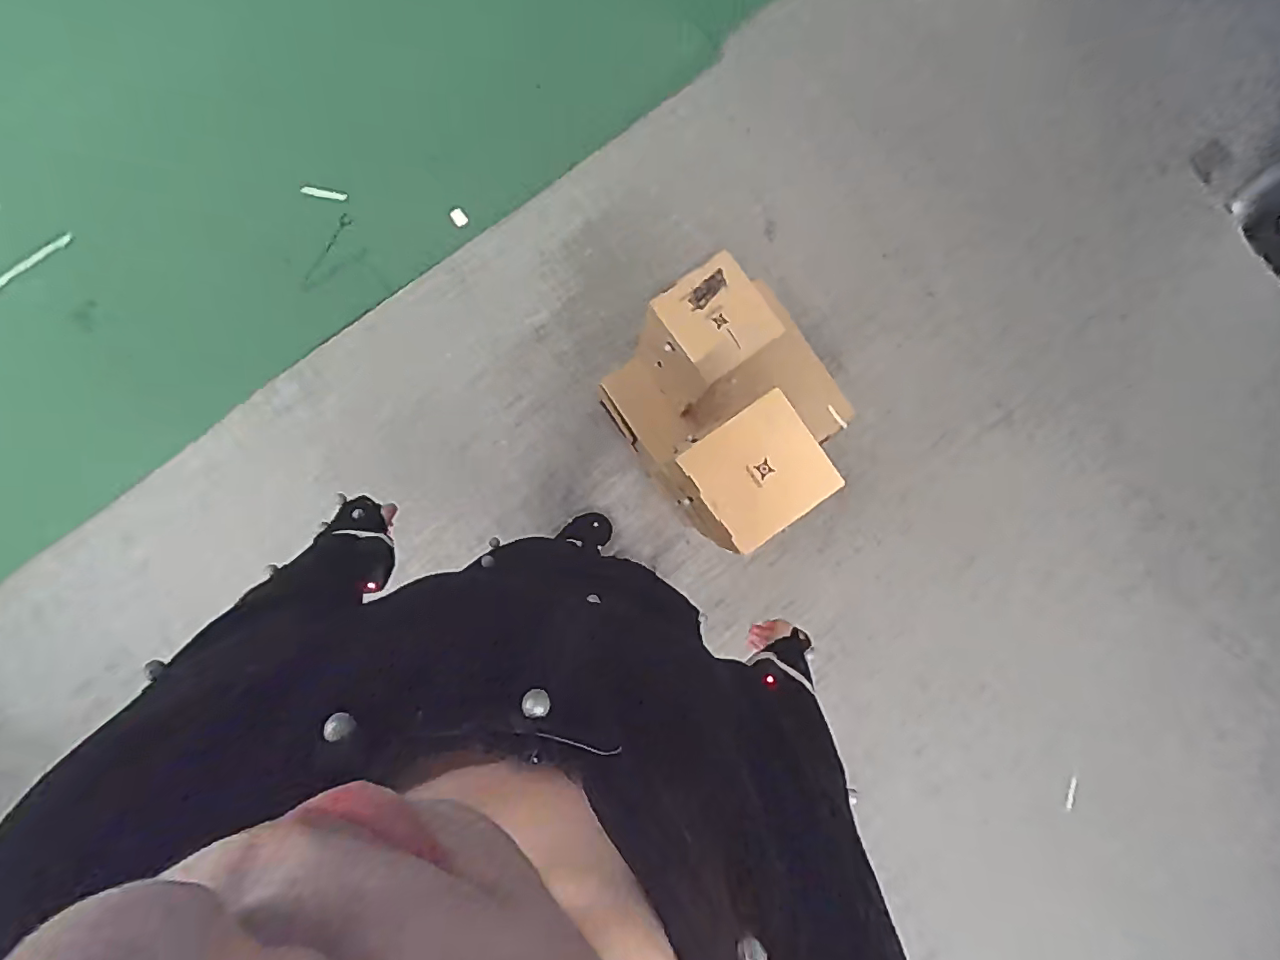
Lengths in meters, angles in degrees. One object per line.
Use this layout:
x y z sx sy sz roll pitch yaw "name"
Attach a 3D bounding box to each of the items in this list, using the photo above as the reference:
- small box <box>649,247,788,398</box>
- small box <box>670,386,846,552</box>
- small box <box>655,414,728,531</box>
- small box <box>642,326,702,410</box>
0.130 -0.273 0.981 0.168 0.176 0.179 -36 89 -4 "small box"
0.163 -0.015 0.812 0.179 0.176 0.168 -35 91 -4 "small box"
0.148 -0.014 1.138 0.168 0.176 0.179 -37 90 -5 "small box"
0.119 -0.272 1.147 0.179 0.176 0.168 -35 90 -5 "small box"
